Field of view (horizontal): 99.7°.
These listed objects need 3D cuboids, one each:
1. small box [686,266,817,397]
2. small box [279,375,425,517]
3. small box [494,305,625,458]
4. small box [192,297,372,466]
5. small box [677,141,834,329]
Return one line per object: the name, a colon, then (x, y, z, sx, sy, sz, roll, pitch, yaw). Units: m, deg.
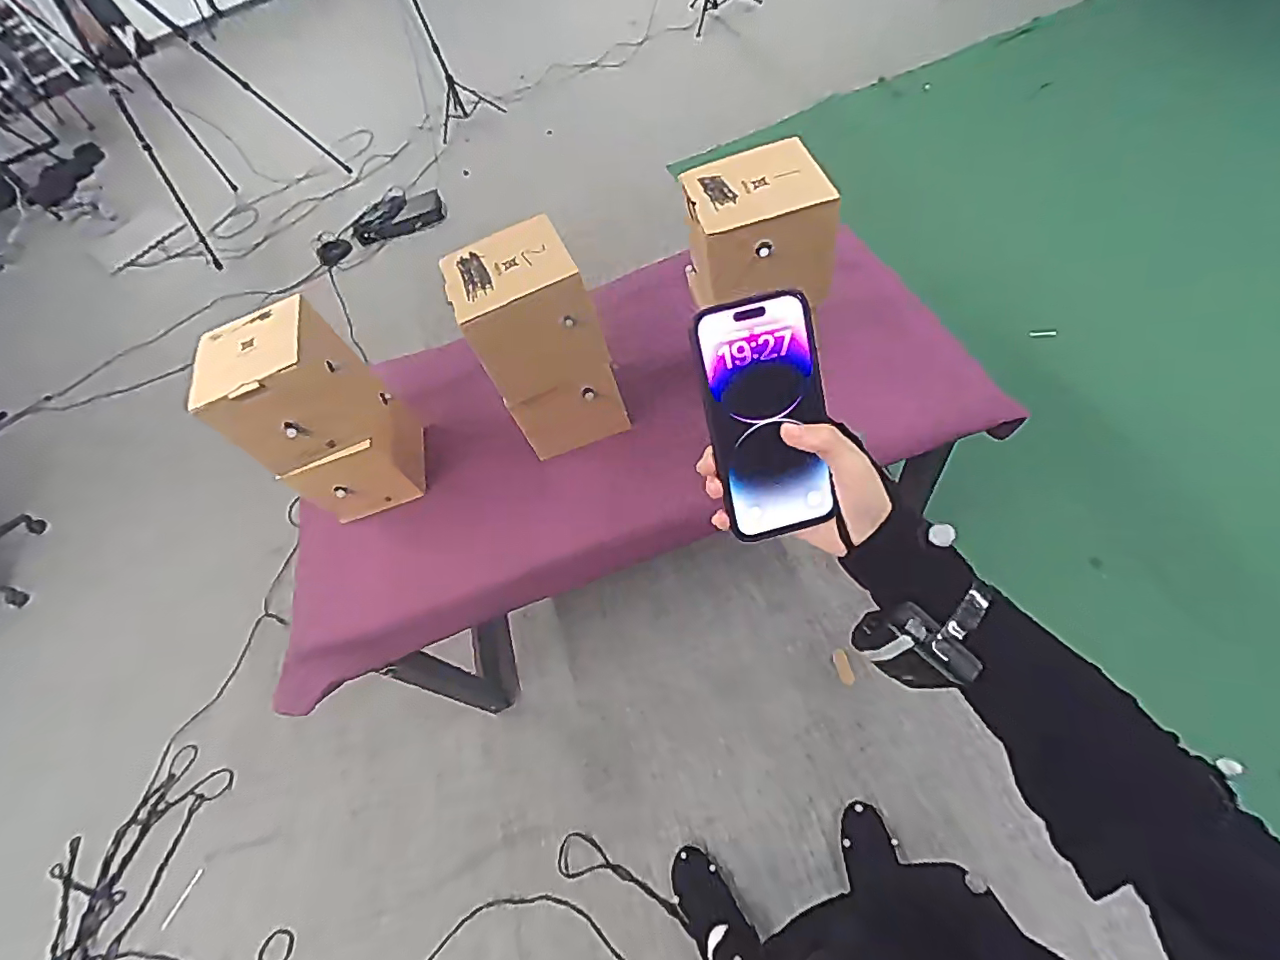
small box: (0.190, -0.272, 0.934, 0.179, 0.176, 0.168, -15, 56, 6)
small box: (-0.506, -0.051, 0.977, 0.168, 0.176, 0.179, -19, 56, 2)
small box: (-0.134, -0.168, 0.951, 0.179, 0.176, 0.168, -20, 56, 2)
small box: (-0.545, -0.143, 0.846, 0.168, 0.176, 0.179, -23, 56, -1)
small box: (0.166, -0.348, 0.790, 0.179, 0.176, 0.168, -15, 56, 5)
